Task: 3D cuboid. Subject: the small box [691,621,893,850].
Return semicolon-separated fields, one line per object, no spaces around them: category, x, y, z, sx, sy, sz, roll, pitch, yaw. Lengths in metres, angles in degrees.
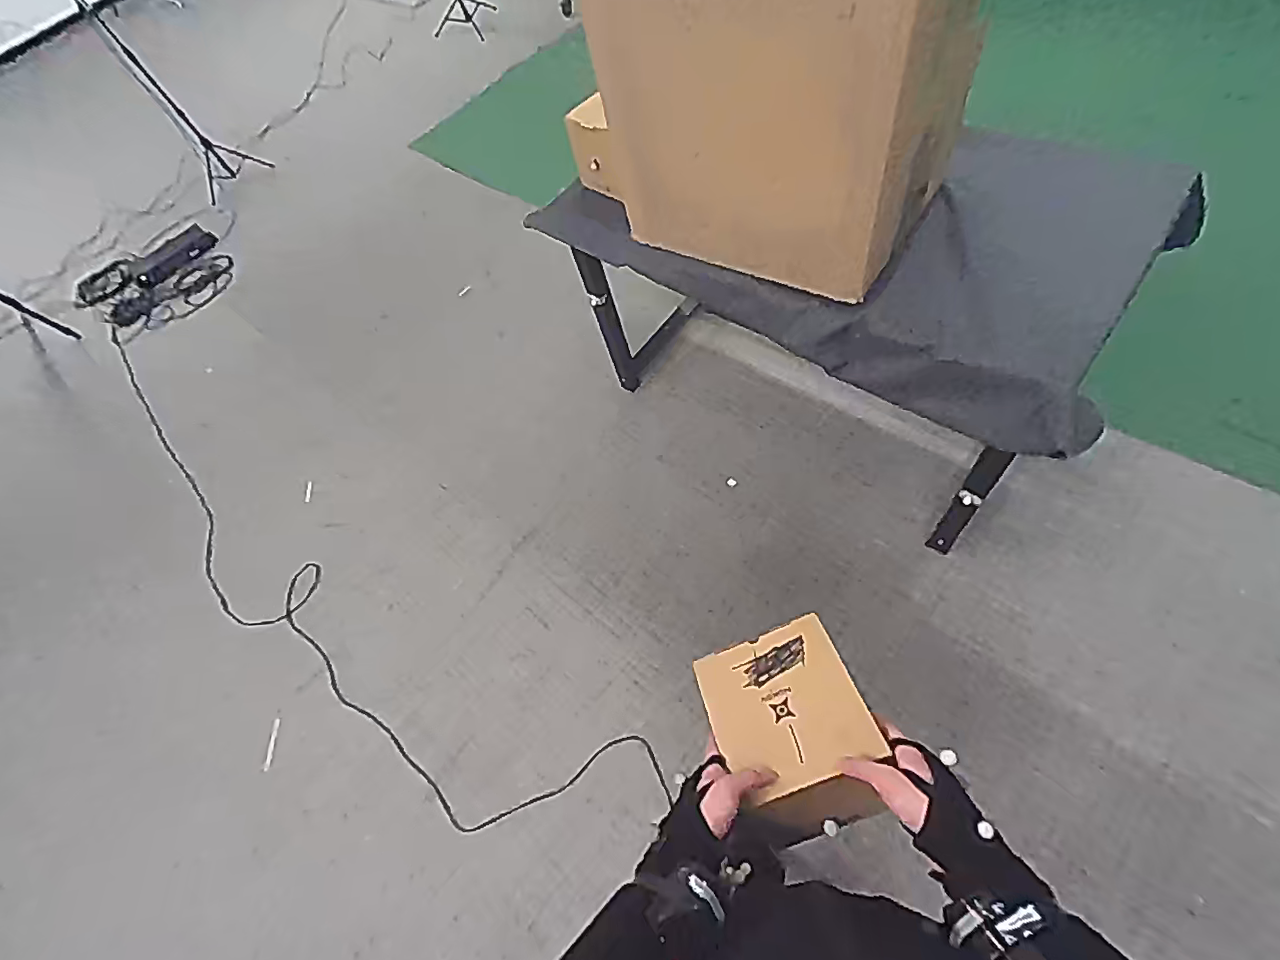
small box;0.182;0.311;0.658;0.168;0.176;0.179;-26;40;8
